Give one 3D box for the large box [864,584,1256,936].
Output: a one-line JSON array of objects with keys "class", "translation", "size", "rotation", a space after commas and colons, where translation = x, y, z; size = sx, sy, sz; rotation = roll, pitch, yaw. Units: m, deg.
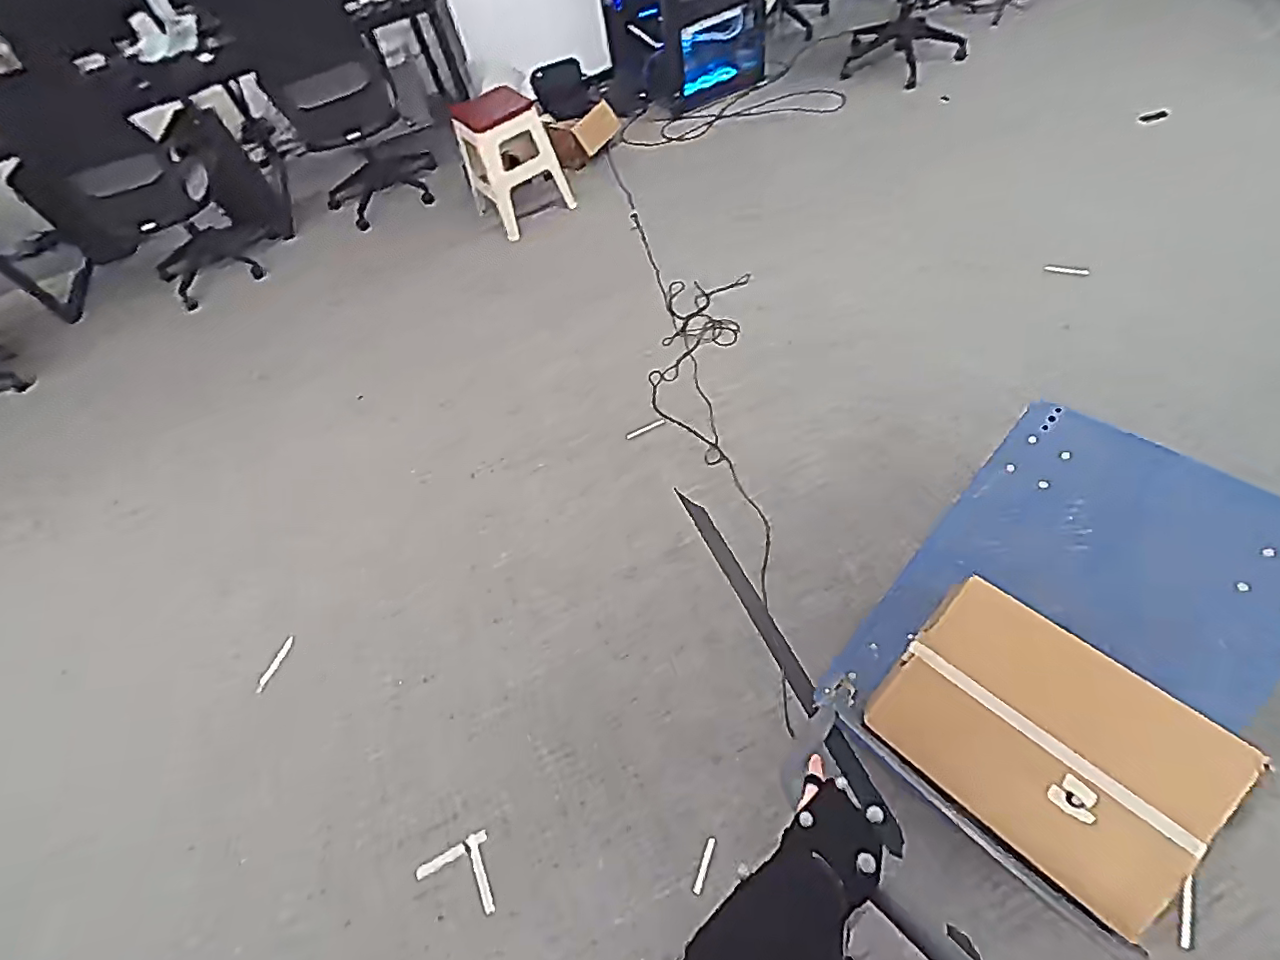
[{"class": "large box", "translation": [0.661, 0.440, 0.955], "size": [0.408, 0.320, 0.320], "rotation": [37, 90, 28]}]
